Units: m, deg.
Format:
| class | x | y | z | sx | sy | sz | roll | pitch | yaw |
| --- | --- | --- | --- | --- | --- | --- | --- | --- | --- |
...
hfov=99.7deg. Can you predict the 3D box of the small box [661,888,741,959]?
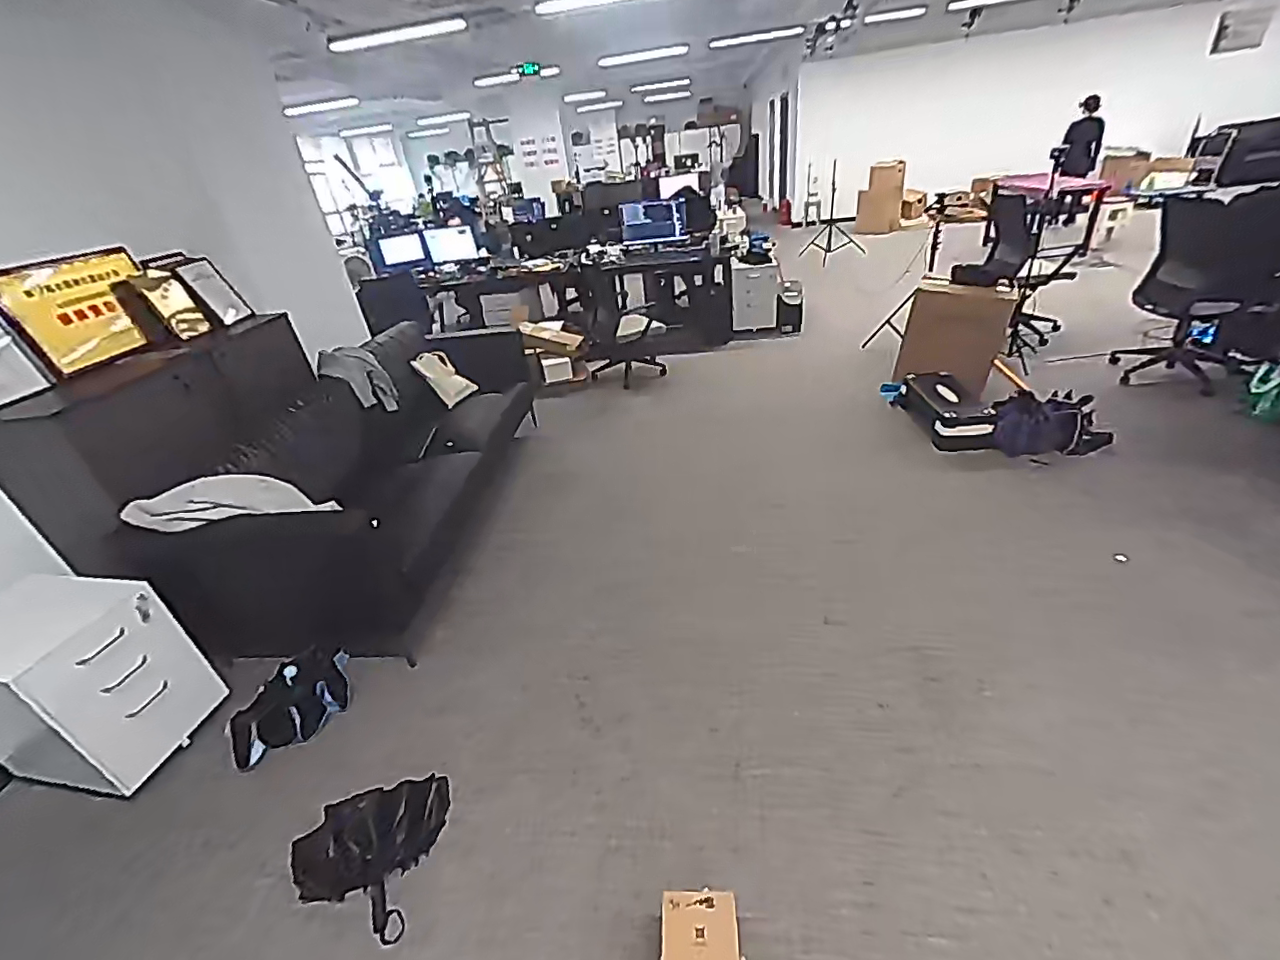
| class | x | y | z | sx | sy | sz | roll | pitch | yaw |
| --- | --- | --- | --- | --- | --- | --- | --- | --- | --- |
| small box | 0.138 | 1.043 | 1.202 | 0.168 | 0.176 | 0.179 | -5 | 33 | 6 |
